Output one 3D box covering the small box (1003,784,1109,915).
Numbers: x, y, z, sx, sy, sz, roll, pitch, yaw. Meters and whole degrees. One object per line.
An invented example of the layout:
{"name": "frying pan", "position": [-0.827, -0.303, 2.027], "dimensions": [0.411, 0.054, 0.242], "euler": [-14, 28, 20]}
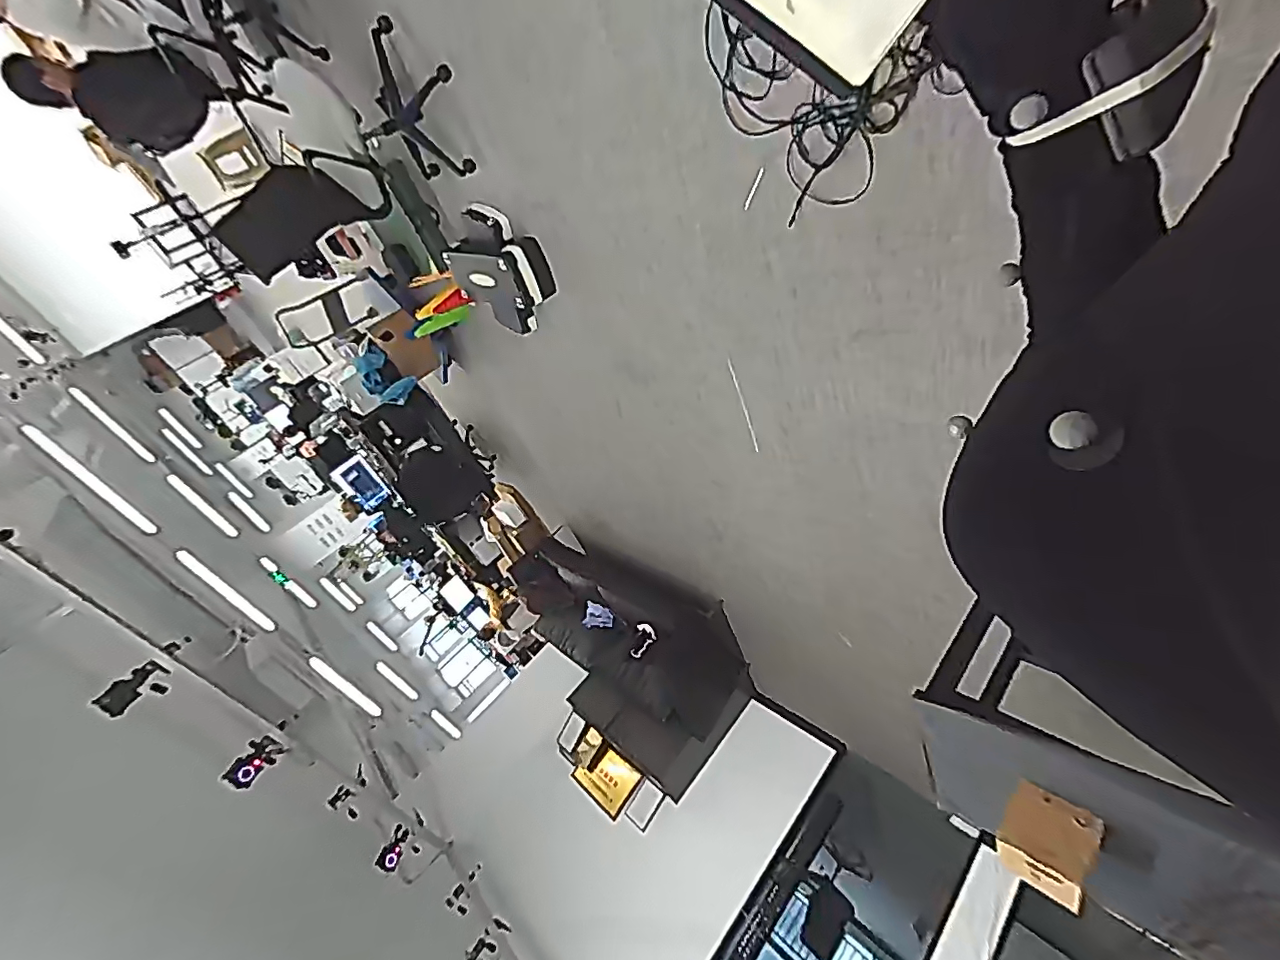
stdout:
{"name": "small box", "position": [0.991, 0.873, 1.291], "dimensions": [0.168, 0.176, 0.179], "euler": [17, 143, 47]}
